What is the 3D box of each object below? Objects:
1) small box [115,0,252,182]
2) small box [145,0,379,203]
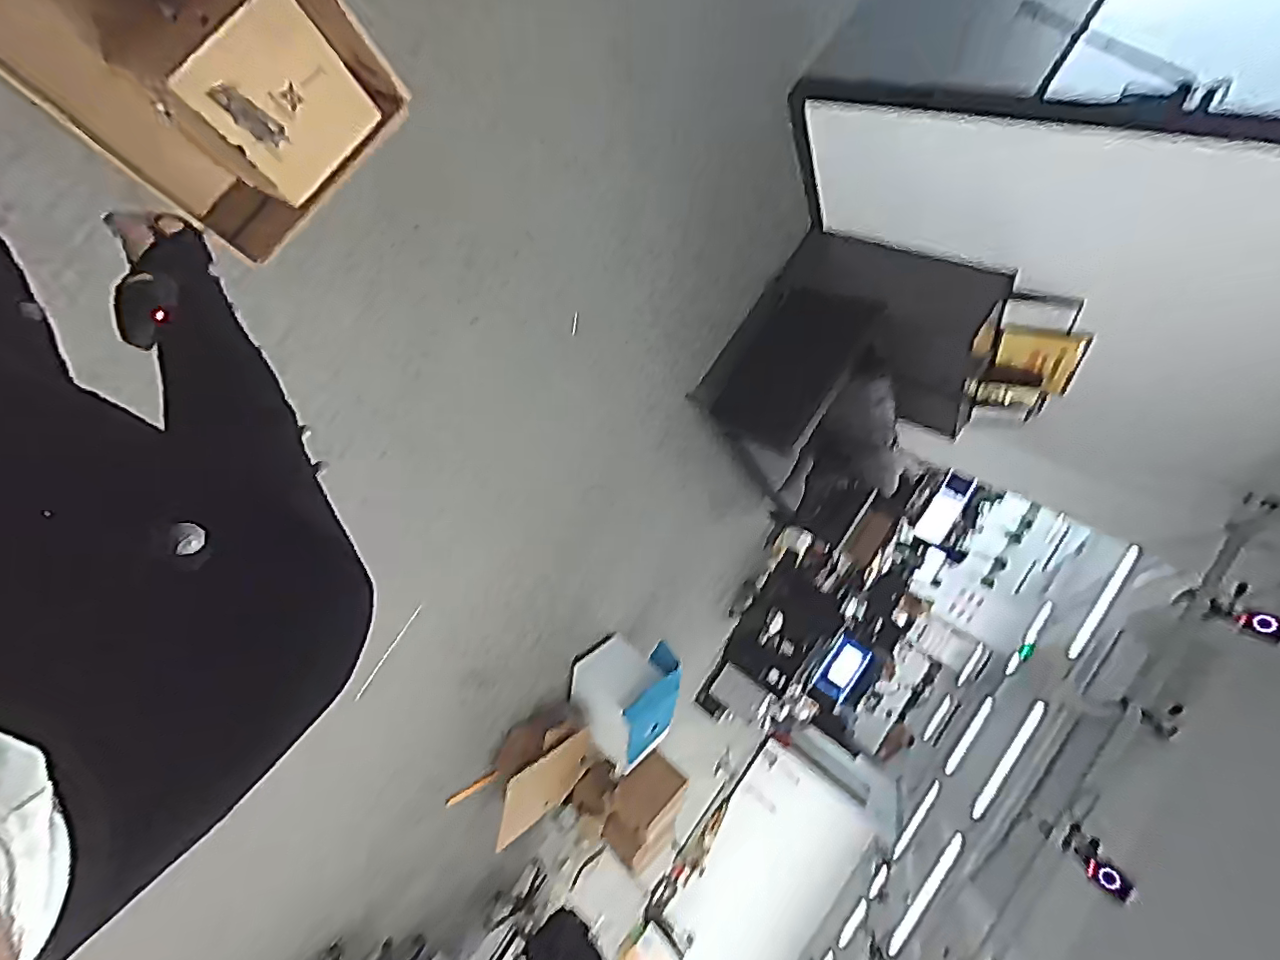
[{"bbox_3d":[-0.611,-0.578,0.791,0.179,0.176,0.168,-52,148,-8],"label":"small box"},{"bbox_3d":[-0.492,-0.502,0.705,0.179,0.176,0.168,-53,148,-8],"label":"small box"}]
